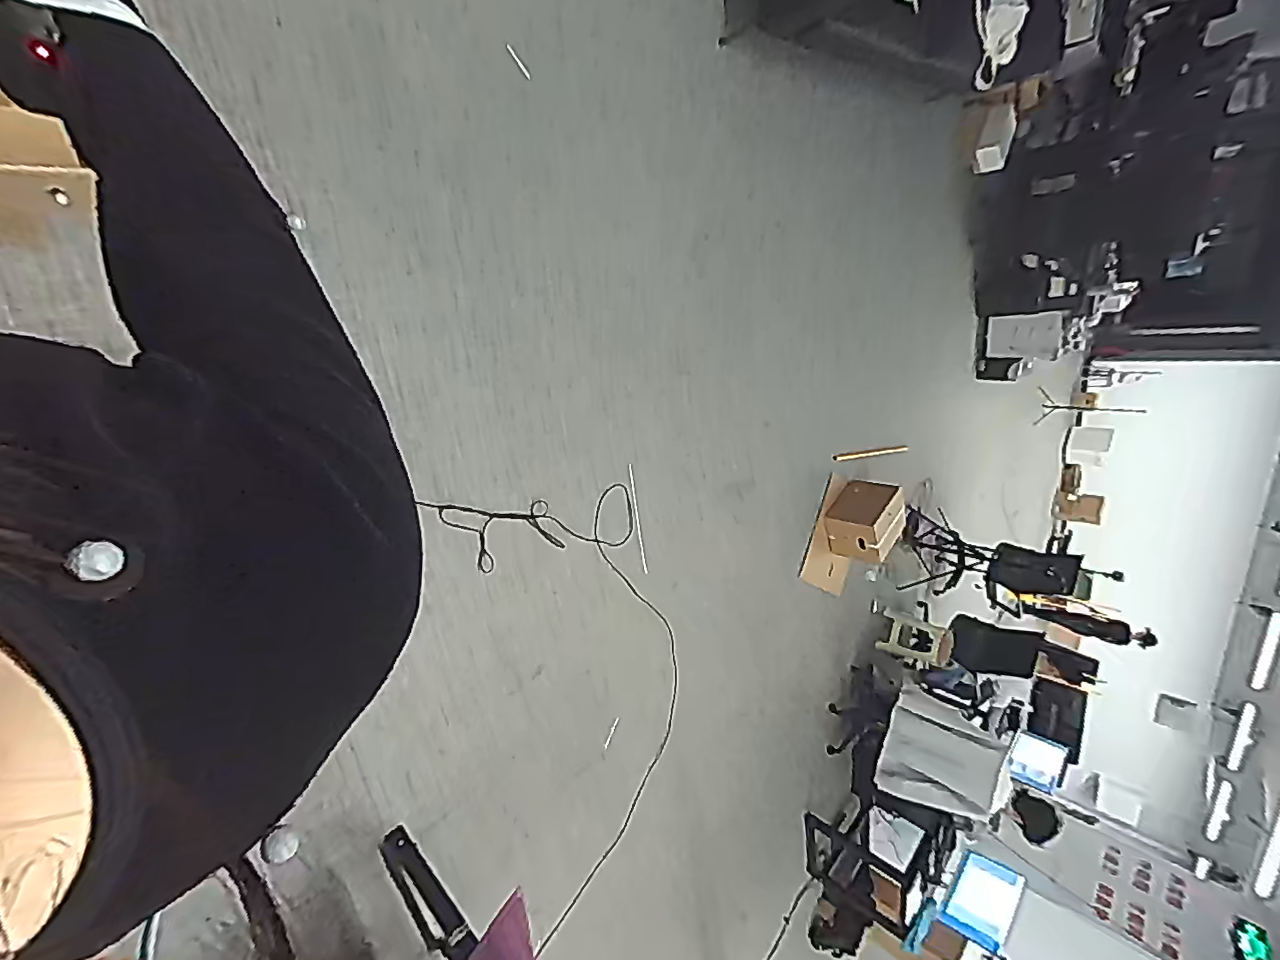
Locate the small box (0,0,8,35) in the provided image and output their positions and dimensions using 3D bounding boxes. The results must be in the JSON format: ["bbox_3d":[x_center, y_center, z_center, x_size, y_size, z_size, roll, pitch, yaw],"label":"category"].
[{"bbox_3d":[-0.643,-0.491,0.414,0.168,0.176,0.179,-18,110,-40],"label":"small box"}]
